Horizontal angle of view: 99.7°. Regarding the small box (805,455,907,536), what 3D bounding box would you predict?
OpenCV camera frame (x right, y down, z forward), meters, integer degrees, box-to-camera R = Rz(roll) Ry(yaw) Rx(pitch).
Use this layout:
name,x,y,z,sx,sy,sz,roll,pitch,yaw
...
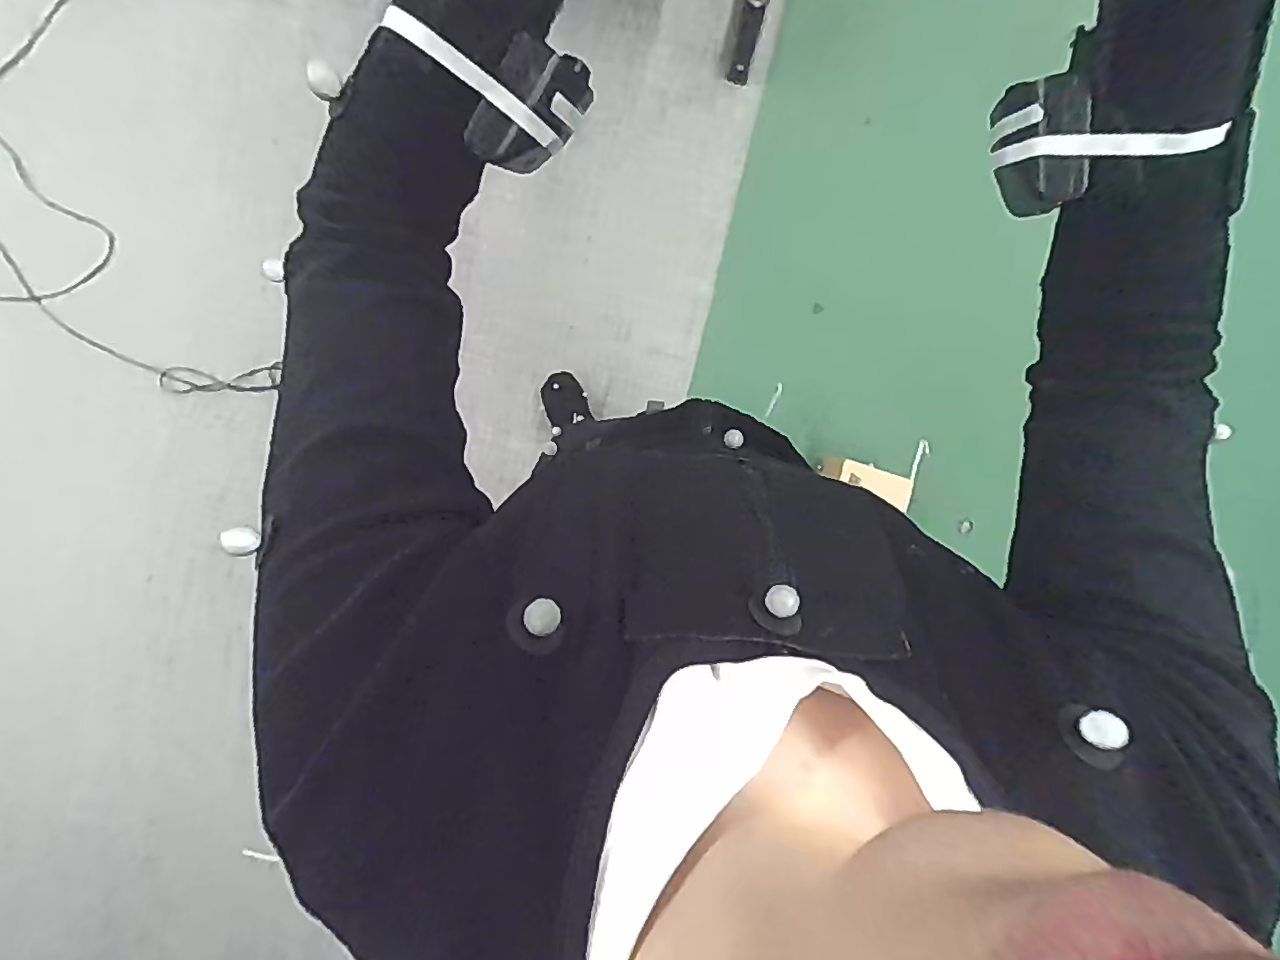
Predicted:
name,x,y,z,sx,sy,sz,roll,pitch,yaw
small box,0.545,0.035,1.393,0.179,0.176,0.168,15,94,0
